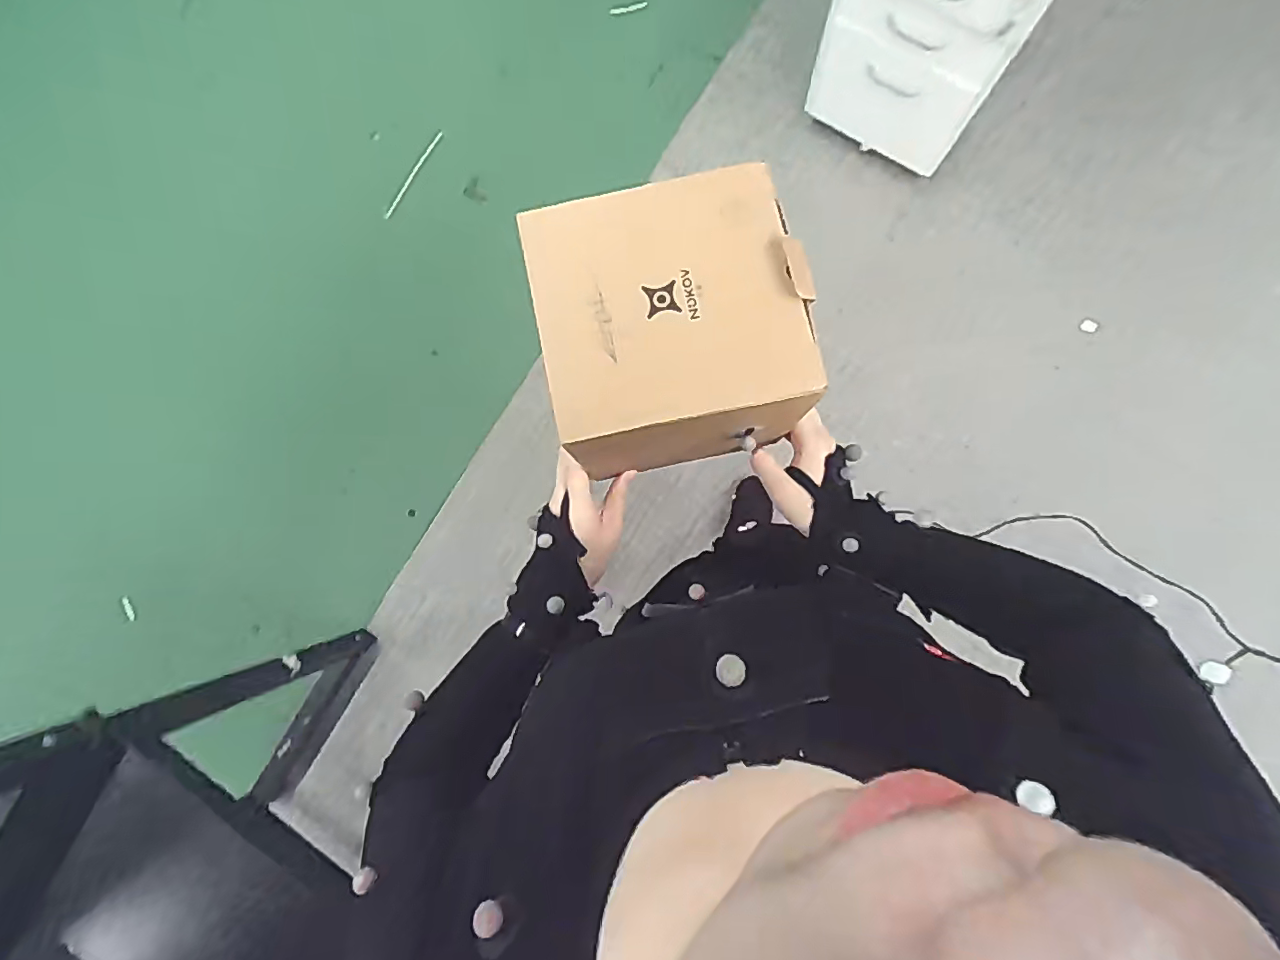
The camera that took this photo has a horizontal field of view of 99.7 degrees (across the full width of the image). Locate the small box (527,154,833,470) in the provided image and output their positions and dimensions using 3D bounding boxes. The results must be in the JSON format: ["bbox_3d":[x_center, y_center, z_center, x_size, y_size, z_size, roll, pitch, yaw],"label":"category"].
[{"bbox_3d":[0.026,-0.112,0.430,0.179,0.176,0.168,-12,81,2],"label":"small box"}]
